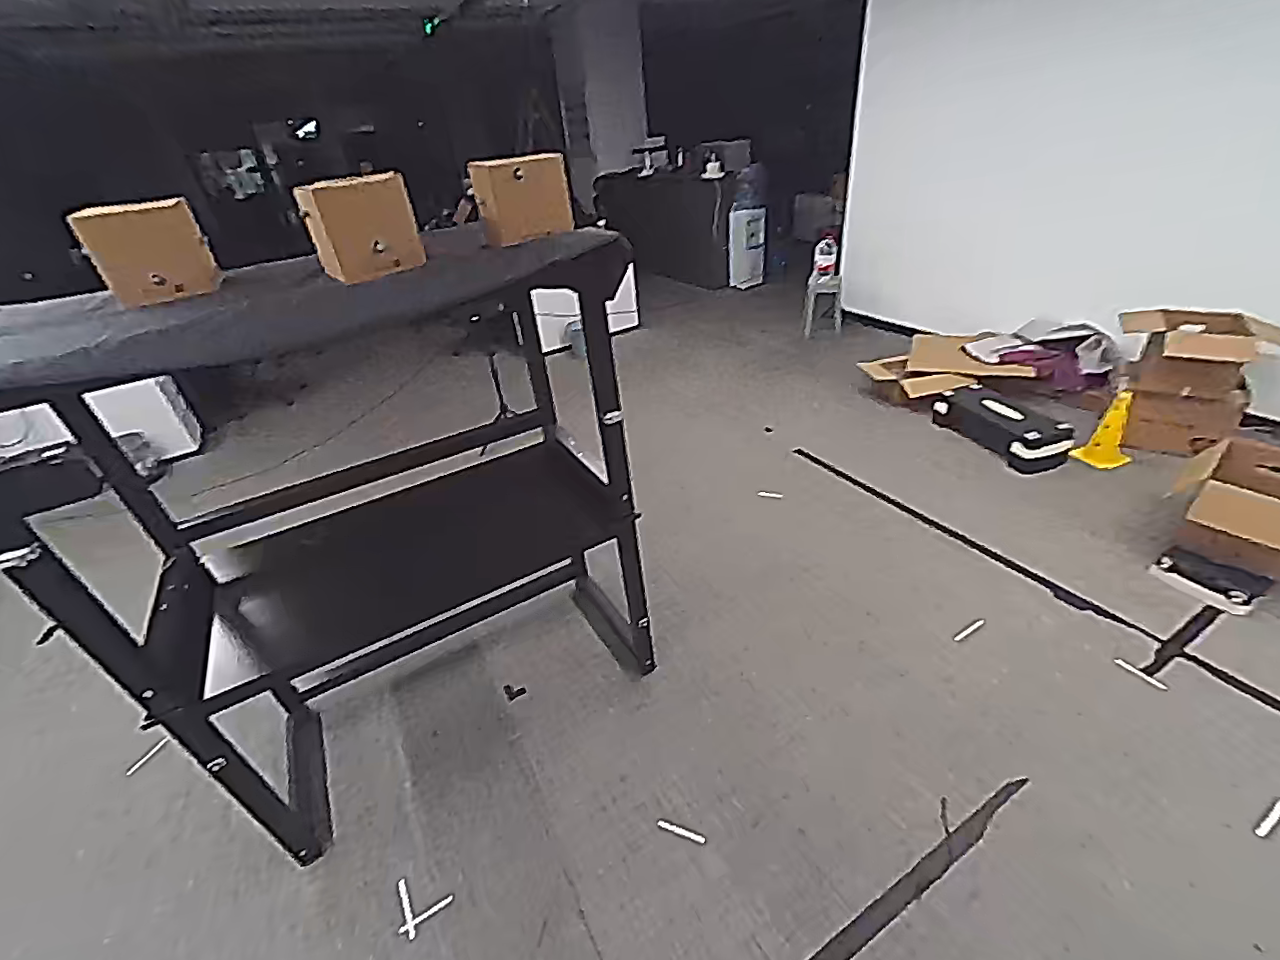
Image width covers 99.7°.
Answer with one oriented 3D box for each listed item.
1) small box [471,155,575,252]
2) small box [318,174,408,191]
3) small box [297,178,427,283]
[{"bbox_3d":[-0.259,-0.614,1.203,0.168,0.176,0.179,-21,35,-19],"label":"small box"},{"bbox_3d":[-0.631,-0.615,1.273,0.179,0.176,0.168,-21,35,-21],"label":"small box"},{"bbox_3d":[-0.559,-0.507,1.096,0.168,0.176,0.179,-28,39,-28],"label":"small box"}]
